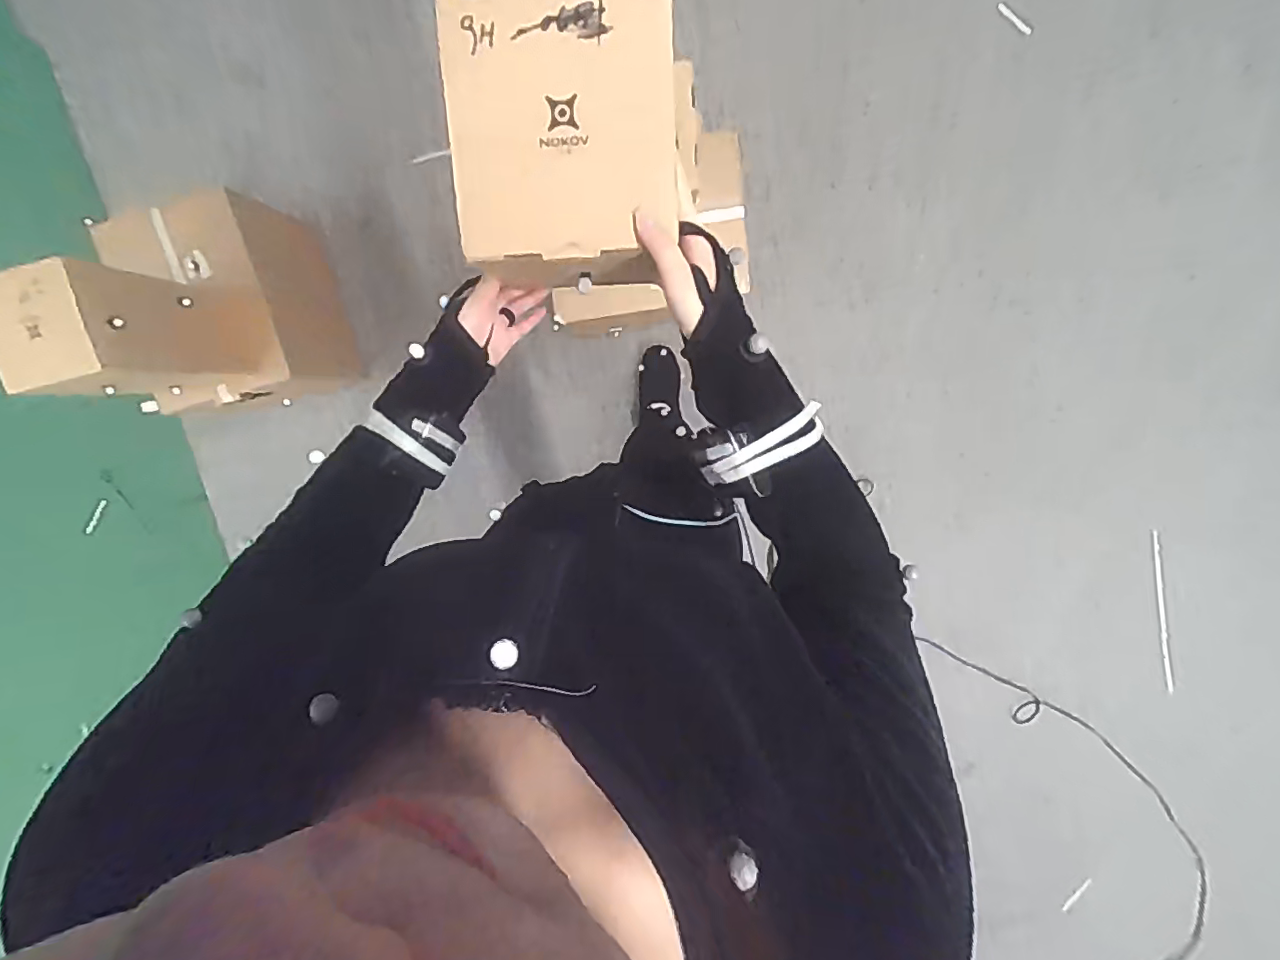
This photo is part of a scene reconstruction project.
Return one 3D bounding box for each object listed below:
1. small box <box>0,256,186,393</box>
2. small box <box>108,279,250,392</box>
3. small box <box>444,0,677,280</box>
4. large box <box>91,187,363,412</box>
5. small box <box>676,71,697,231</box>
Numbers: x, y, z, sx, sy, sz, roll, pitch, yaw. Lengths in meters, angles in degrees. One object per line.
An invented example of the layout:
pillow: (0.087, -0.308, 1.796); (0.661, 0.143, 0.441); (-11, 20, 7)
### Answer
small box: (-0.910, -0.246, 0.892); (0.168, 0.176, 0.179); (-12, 98, 3)
small box: (-0.914, -0.273, 1.055); (0.168, 0.176, 0.179); (-12, 98, 4)
small box: (-0.052, -0.276, 0.475); (0.168, 0.176, 0.179); (-2, 103, 1)
large box: (-0.937, -0.395, 1.283); (0.320, 0.320, 0.408); (-14, 98, 4)
small box: (-0.009, -0.481, 0.824); (0.179, 0.176, 0.168); (-3, 97, 3)
